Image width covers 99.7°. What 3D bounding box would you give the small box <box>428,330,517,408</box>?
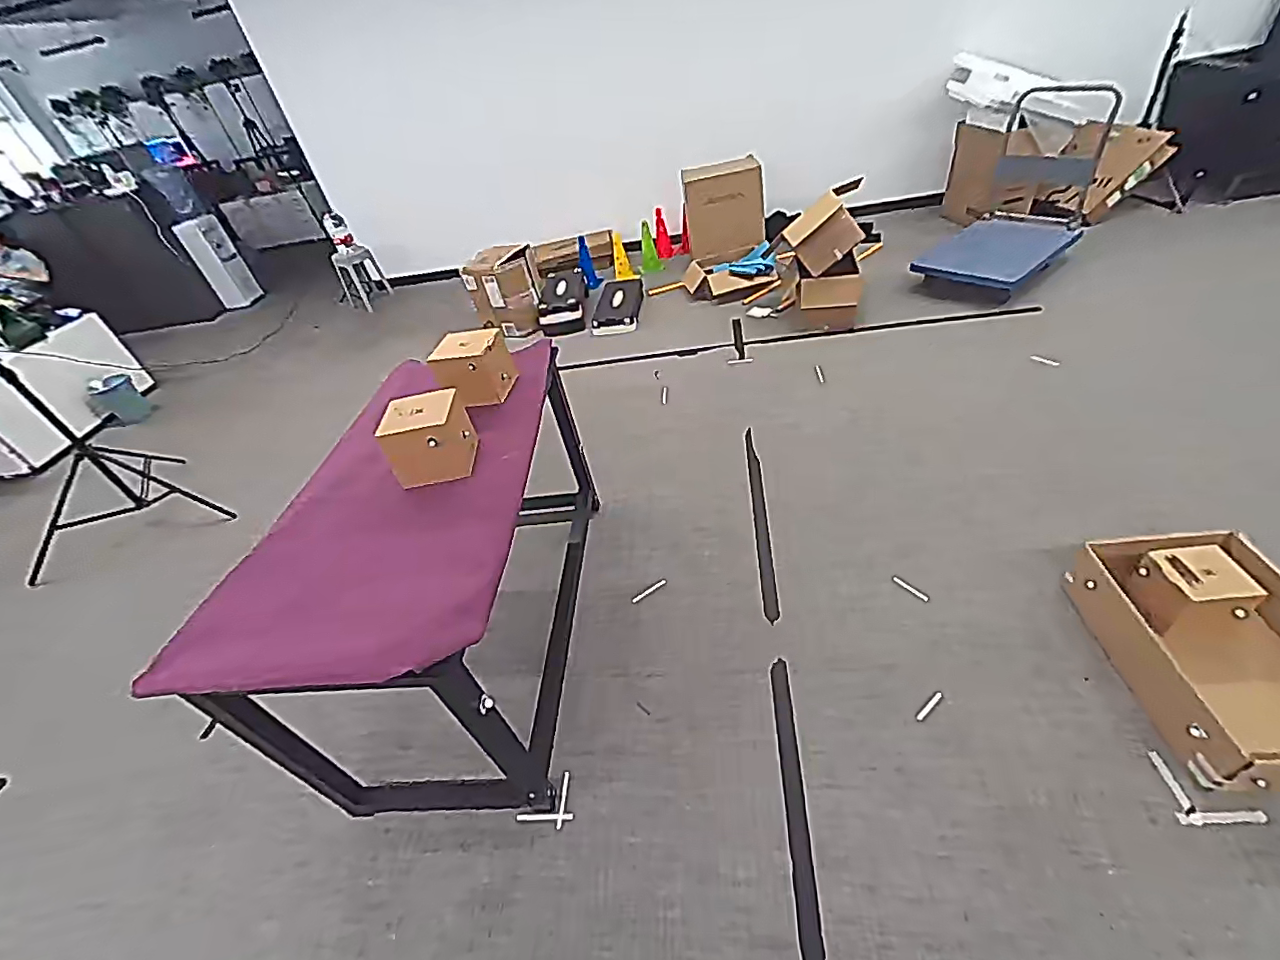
[{"bbox_3d":[-0.498,-0.331,1.633,0.179,0.176,0.168,-3,41,13],"label":"small box"}]

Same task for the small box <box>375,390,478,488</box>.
[{"bbox_3d":[-0.531,-0.102,1.376,0.179,0.176,0.168,-11,40,2],"label":"small box"}]
